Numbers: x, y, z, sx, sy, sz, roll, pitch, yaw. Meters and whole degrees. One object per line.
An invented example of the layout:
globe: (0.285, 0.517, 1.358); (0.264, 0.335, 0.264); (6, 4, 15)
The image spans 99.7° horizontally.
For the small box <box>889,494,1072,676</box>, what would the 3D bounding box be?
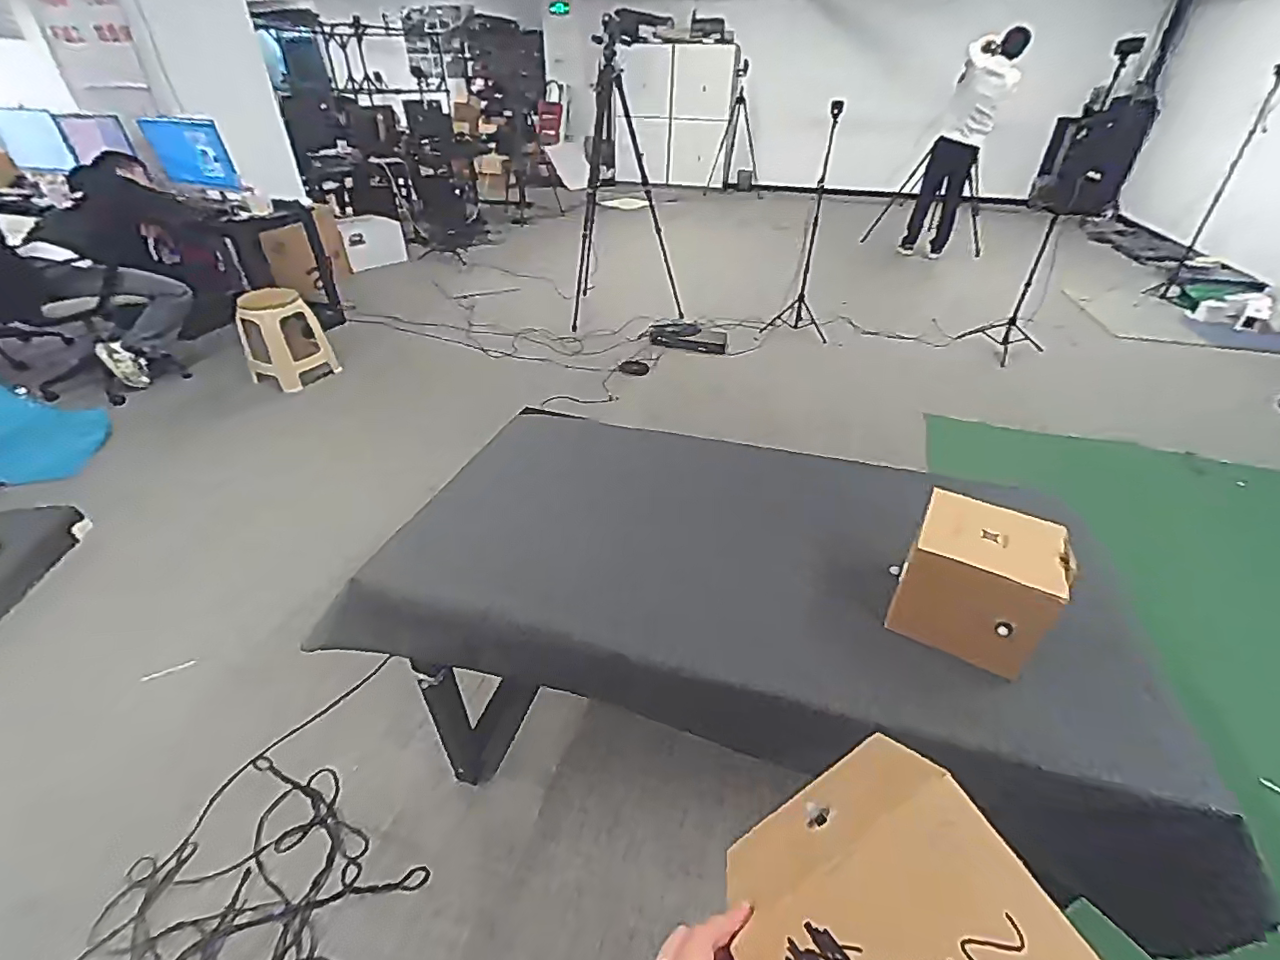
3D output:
small box: (0.489, 0.153, 0.789); (0.179, 0.176, 0.168); (19, 39, 26)
